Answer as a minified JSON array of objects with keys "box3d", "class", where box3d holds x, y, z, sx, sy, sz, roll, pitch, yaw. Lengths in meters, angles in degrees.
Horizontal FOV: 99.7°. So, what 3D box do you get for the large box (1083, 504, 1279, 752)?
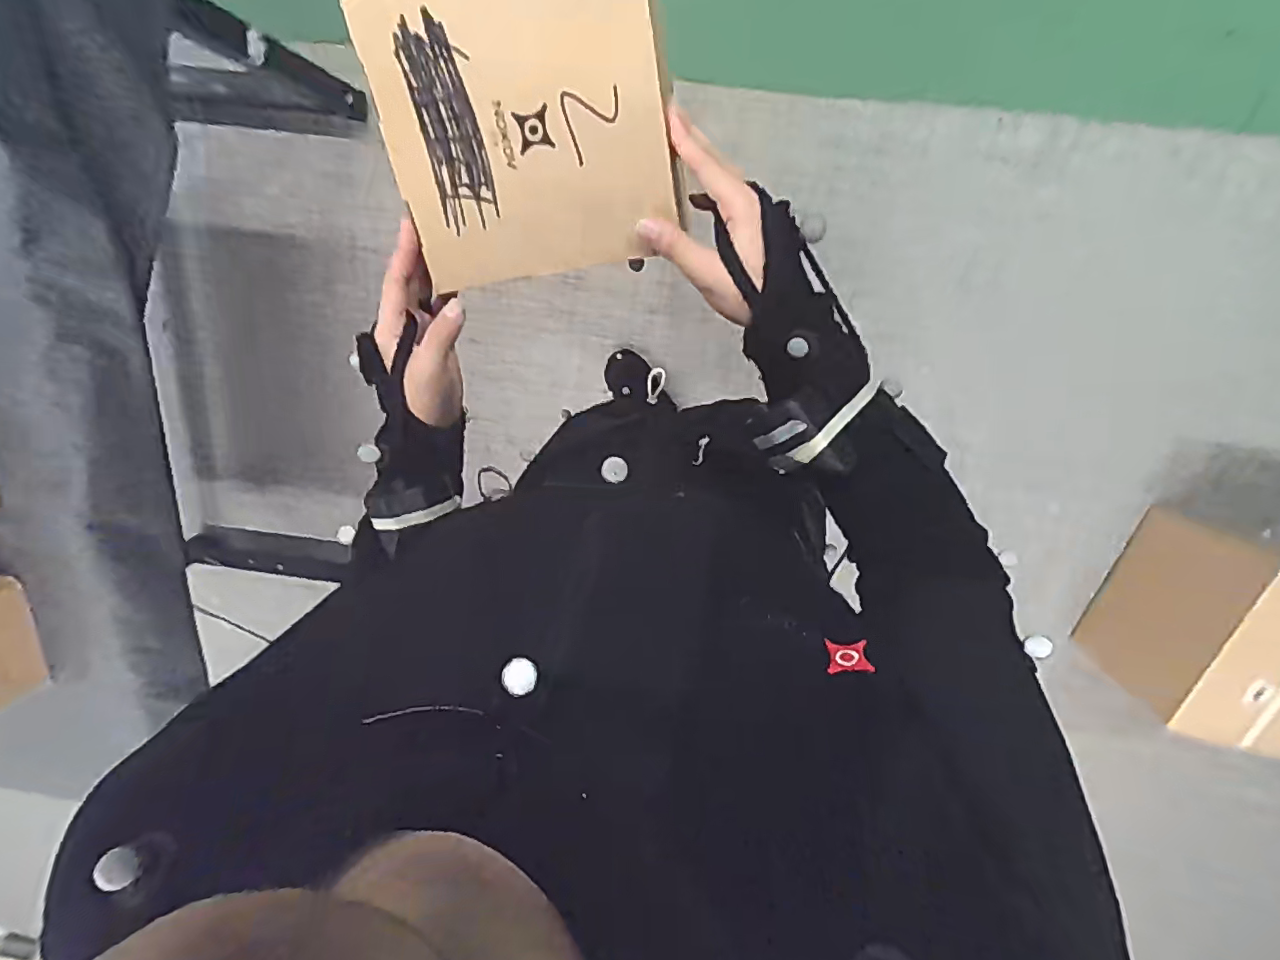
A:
[{"box3d":[1.311,0.313,1.188,0.320,0.320,0.408,14,111,2],"class":"large box"}]
